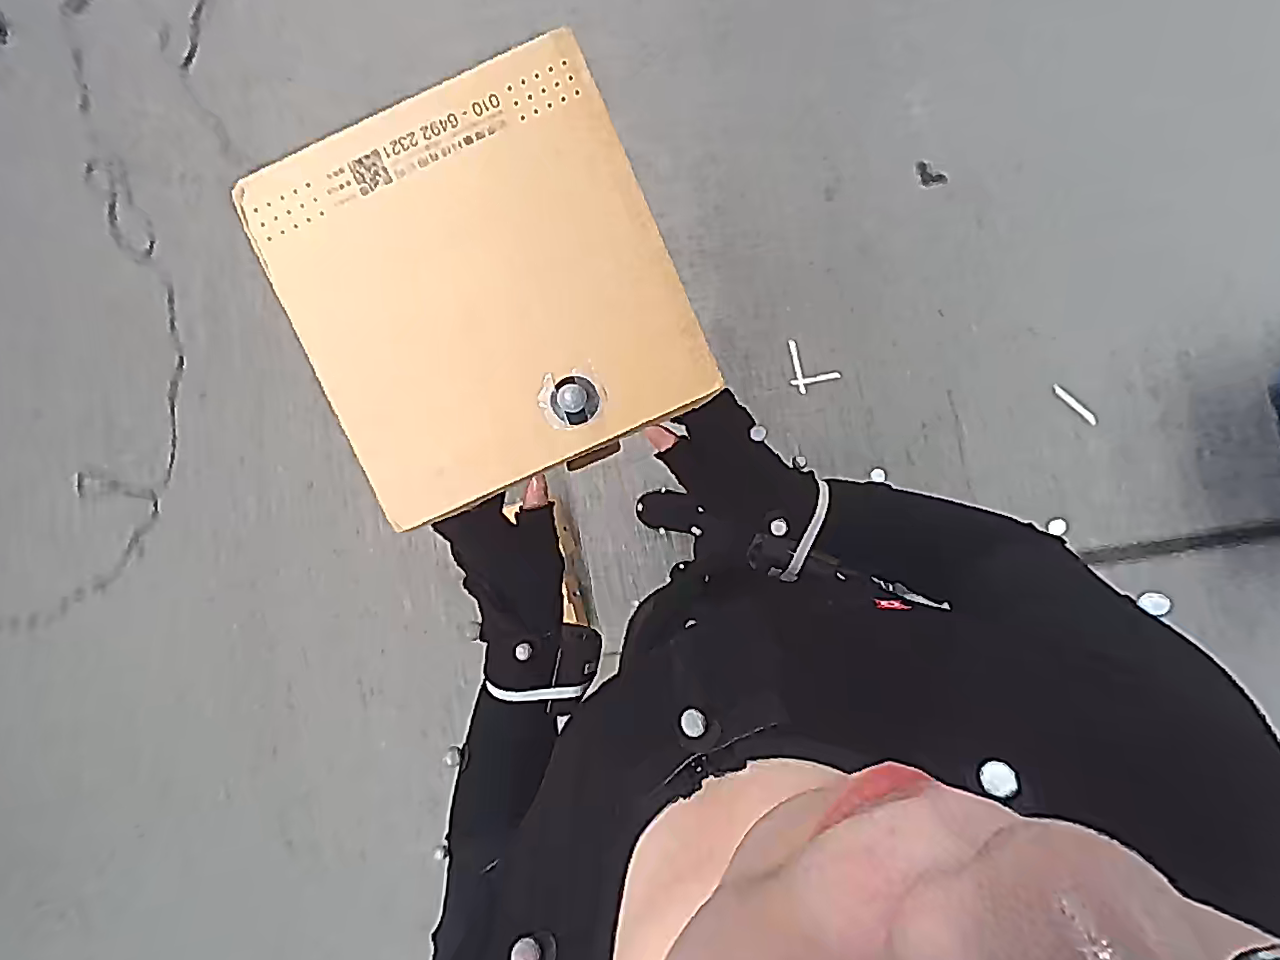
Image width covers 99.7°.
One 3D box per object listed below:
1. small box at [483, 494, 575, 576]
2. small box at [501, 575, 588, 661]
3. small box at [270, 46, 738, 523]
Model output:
[{"bbox_3d":[-0.290,0.145,1.440,0.179,0.176,0.168,-19,86,1],"label":"small box"},{"bbox_3d":[-0.243,0.356,1.426,0.179,0.176,0.168,-15,86,2],"label":"small box"},{"bbox_3d":[-0.062,-0.094,0.322,0.168,0.179,0.176,-23,95,1],"label":"small box"}]
